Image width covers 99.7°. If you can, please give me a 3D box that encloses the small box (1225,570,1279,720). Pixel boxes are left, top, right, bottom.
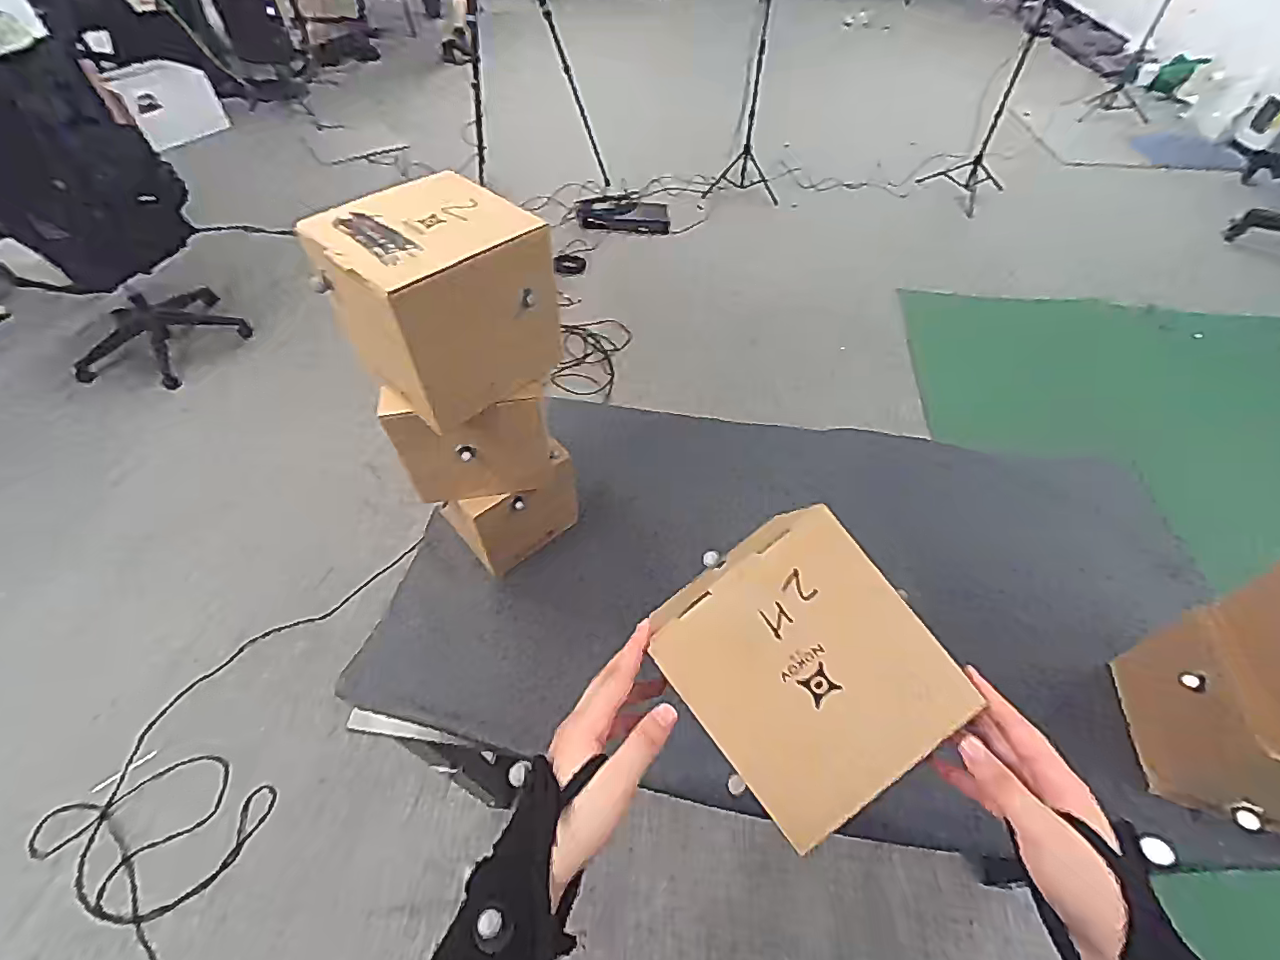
[{"bbox_3d":[0.718,0.168,0.491,0.168,0.176,0.179,10,47,10],"label":"small box"}]

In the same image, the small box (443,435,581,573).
[{"bbox_3d":[-0.210,0.010,0.842,0.168,0.176,0.179,-35,59,-24],"label":"small box"}]

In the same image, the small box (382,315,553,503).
[{"bbox_3d":[-0.211,-0.090,0.711,0.179,0.176,0.168,-9,52,-6],"label":"small box"}]

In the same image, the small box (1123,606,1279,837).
[{"bbox_3d":[0.705,0.276,0.612,0.168,0.176,0.179,12,49,12],"label":"small box"}]
